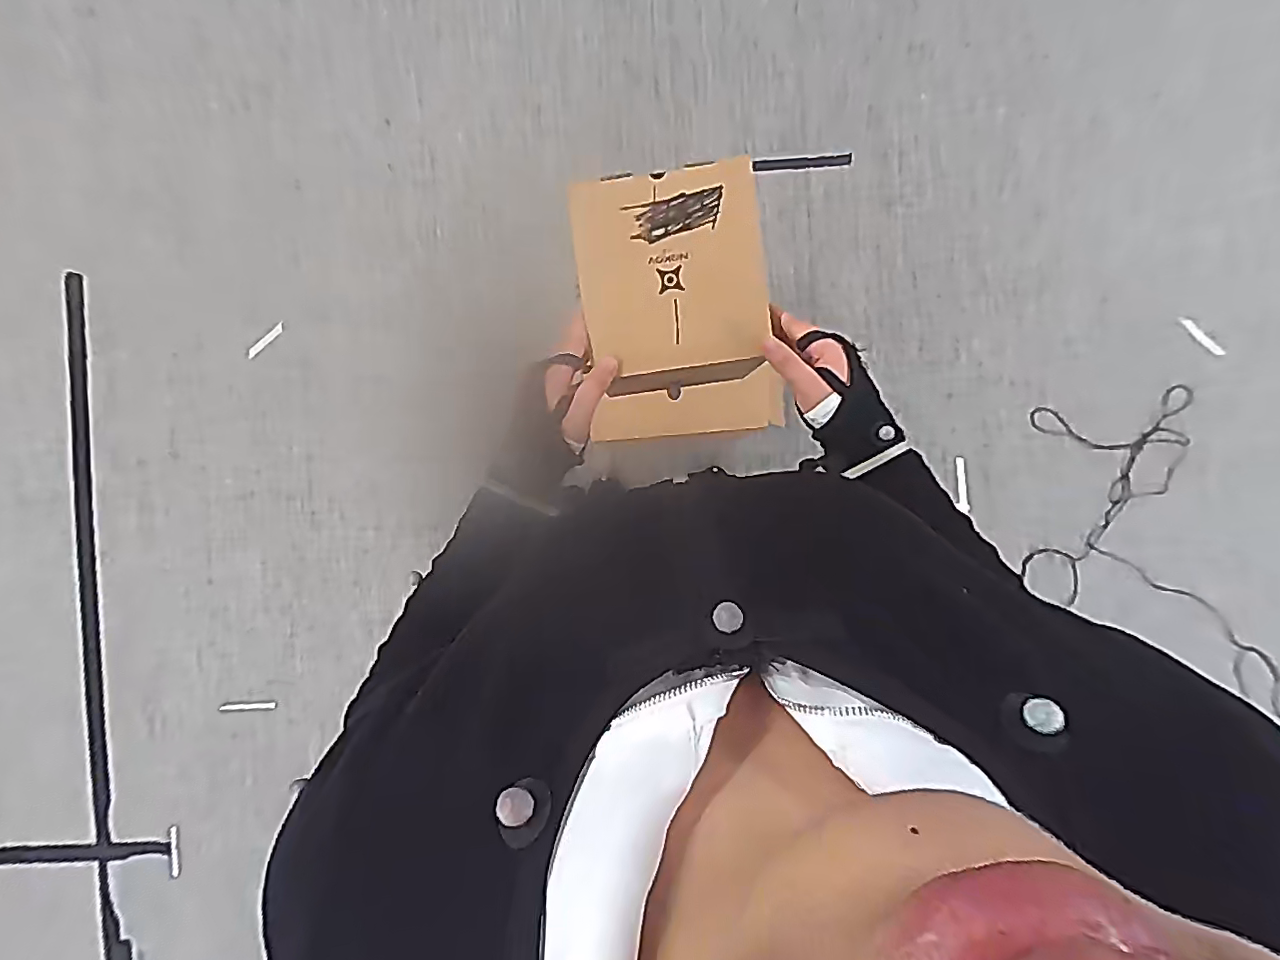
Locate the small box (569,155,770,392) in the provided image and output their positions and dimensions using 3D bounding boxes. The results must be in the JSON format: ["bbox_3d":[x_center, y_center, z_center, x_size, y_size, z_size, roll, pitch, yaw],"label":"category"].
[{"bbox_3d":[0.028,-0.195,0.560,0.168,0.176,0.179,-8,94,2],"label":"small box"}]
